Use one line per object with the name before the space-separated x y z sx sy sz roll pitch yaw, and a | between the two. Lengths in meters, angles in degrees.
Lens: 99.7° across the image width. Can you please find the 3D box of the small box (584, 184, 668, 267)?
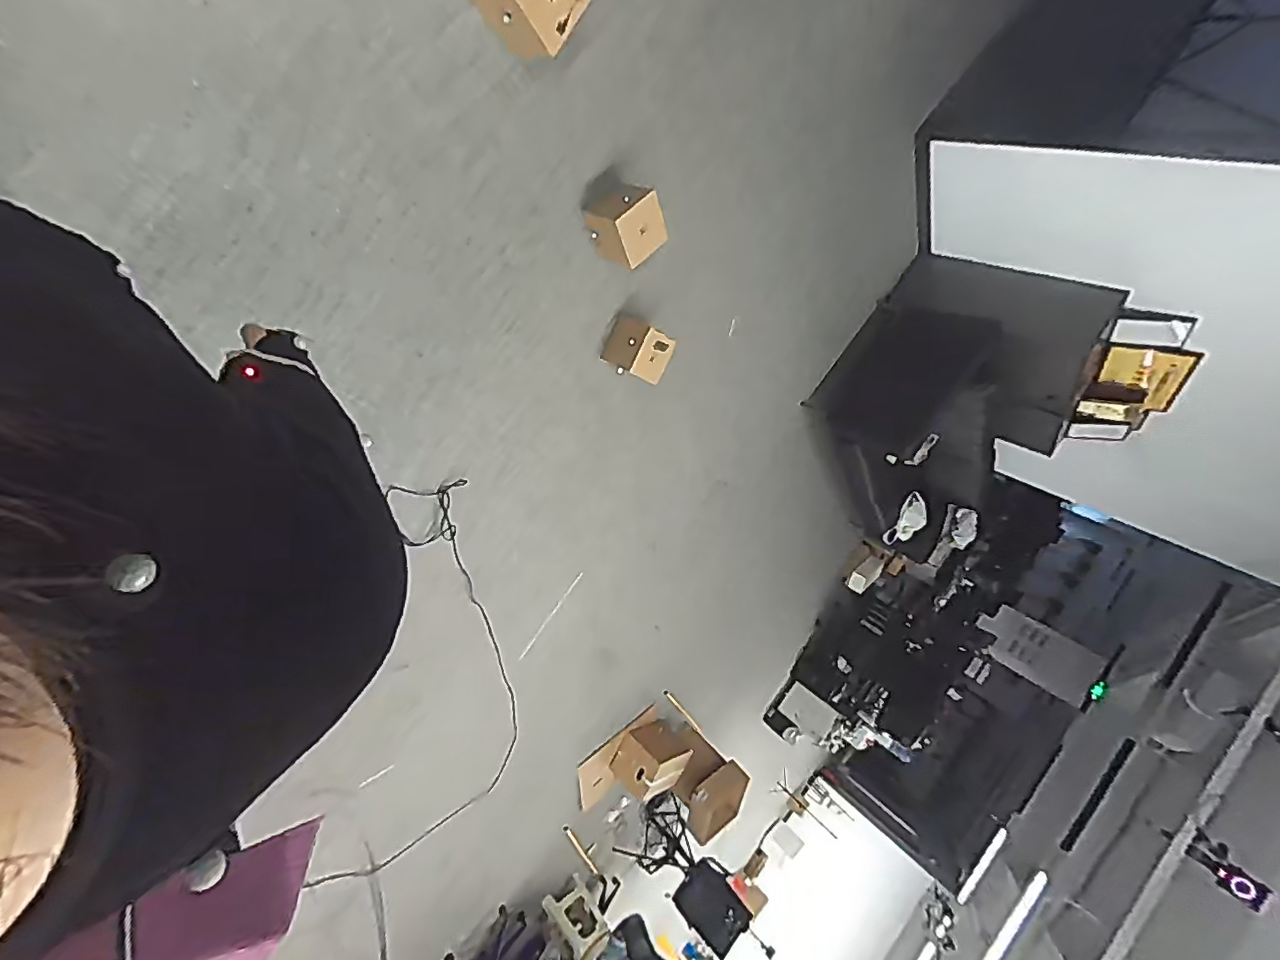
small box | -0.043 -0.806 1.703 0.179 0.176 0.168 -45 142 -15

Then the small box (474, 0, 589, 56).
small box | -0.256 -1.109 1.231 0.168 0.176 0.179 -57 143 1

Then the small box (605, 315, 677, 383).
small box | -0.002 -0.483 1.988 0.168 0.176 0.179 13 107 -51
